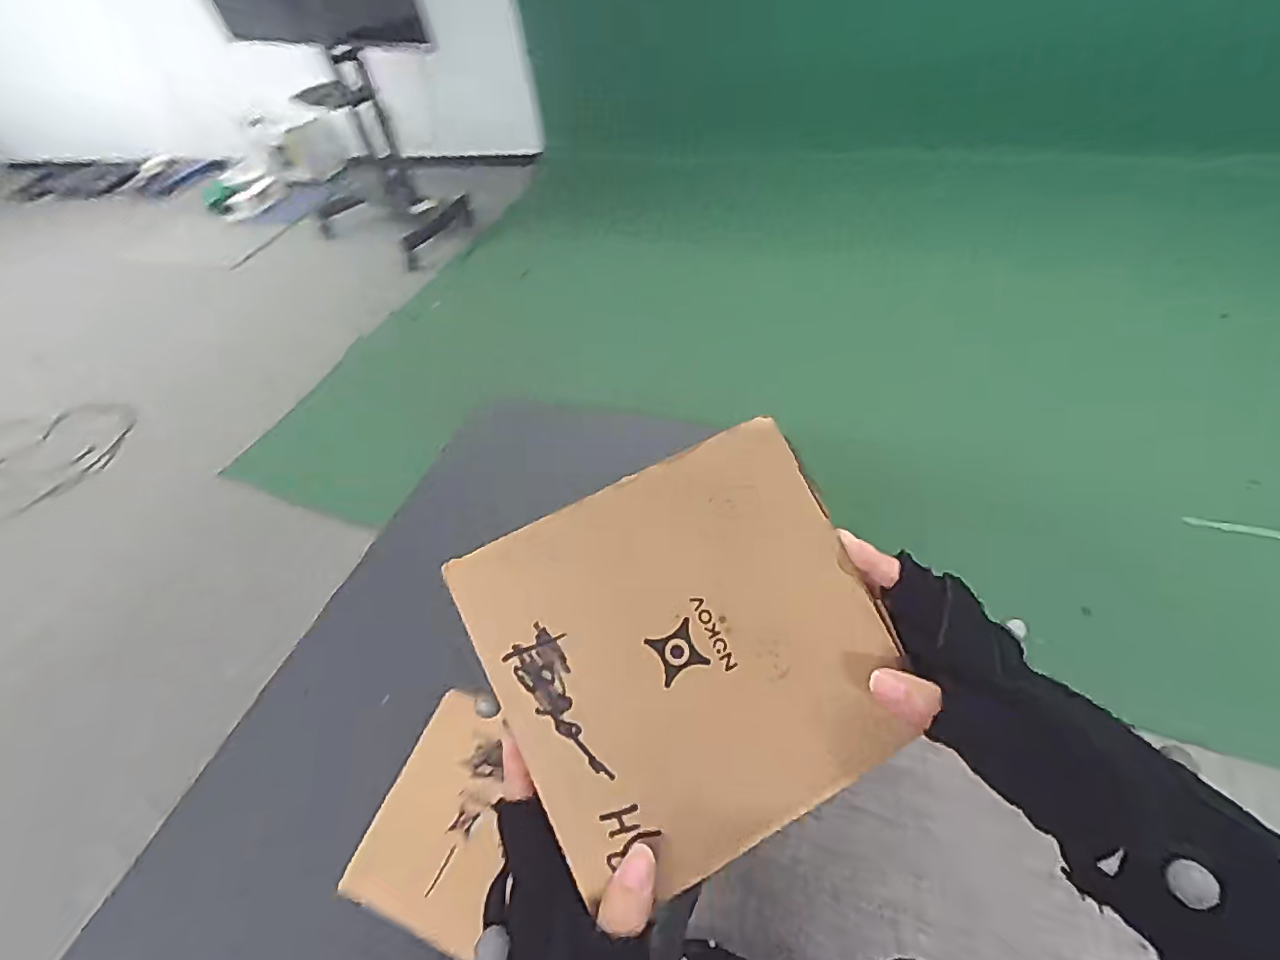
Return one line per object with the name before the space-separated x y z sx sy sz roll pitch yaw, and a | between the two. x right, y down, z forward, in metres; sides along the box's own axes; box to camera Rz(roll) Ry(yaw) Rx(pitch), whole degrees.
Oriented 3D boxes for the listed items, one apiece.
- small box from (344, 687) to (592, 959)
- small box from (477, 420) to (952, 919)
small box | -0.138 0.343 0.540 0.168 0.176 0.179 12 53 19
small box | 0.026 0.090 0.323 0.179 0.176 0.168 -23 79 -11
